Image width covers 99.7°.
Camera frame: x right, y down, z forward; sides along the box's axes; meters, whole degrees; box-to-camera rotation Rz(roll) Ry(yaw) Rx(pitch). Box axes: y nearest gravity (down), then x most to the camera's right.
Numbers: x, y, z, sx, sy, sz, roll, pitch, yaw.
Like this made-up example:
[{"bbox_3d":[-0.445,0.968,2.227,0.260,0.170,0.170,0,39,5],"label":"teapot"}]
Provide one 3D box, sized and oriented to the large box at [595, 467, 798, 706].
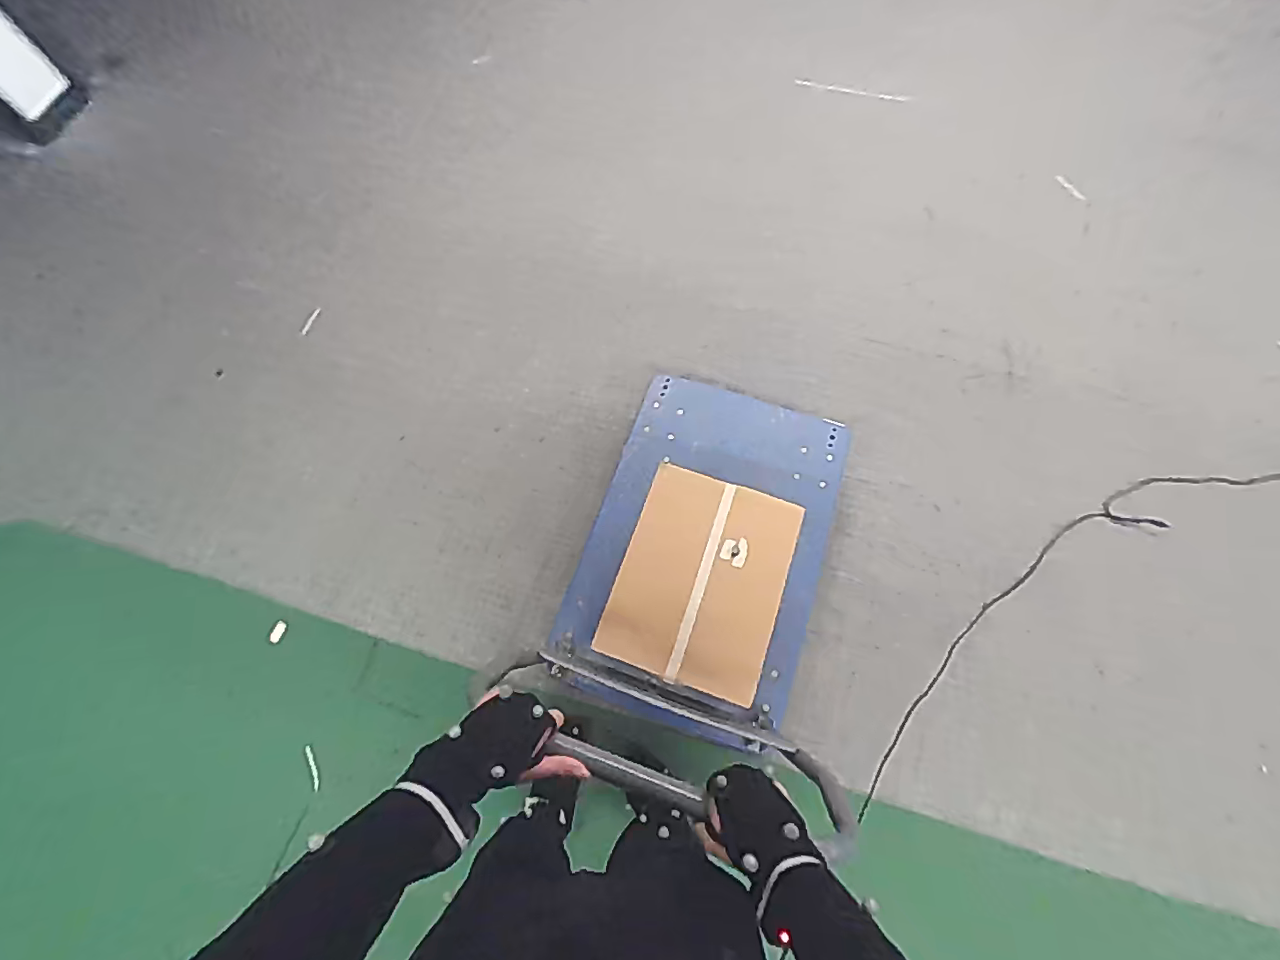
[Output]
[{"bbox_3d":[0.122,0.245,1.193,0.320,0.320,0.408,18,70,7],"label":"large box"}]
